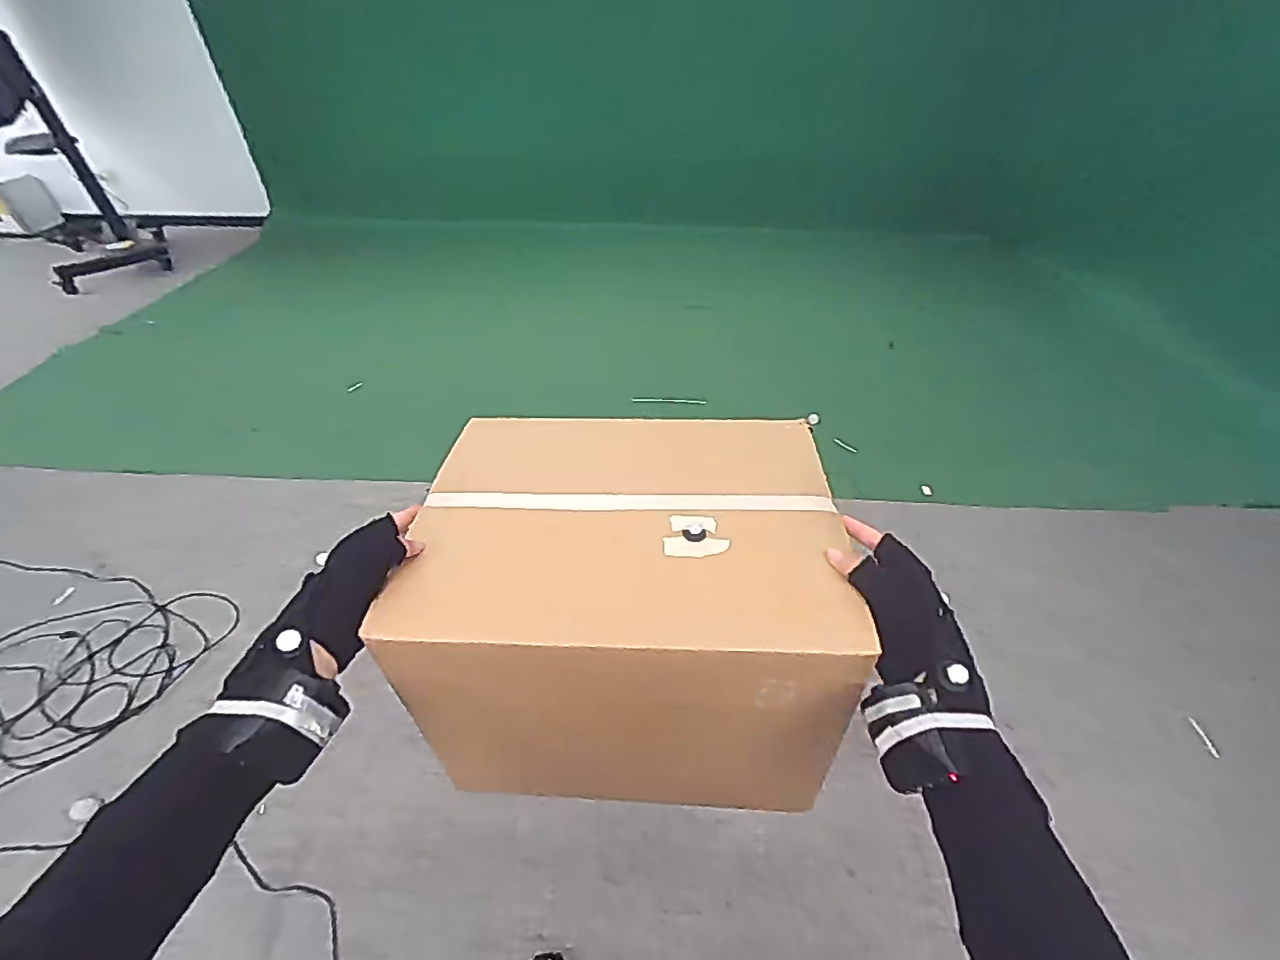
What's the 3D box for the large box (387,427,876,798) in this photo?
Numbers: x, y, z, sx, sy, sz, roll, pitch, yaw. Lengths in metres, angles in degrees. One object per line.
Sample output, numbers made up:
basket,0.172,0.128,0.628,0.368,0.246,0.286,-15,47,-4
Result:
large box,-0.004,0.148,0.638,0.408,0.320,0.320,1,40,3
